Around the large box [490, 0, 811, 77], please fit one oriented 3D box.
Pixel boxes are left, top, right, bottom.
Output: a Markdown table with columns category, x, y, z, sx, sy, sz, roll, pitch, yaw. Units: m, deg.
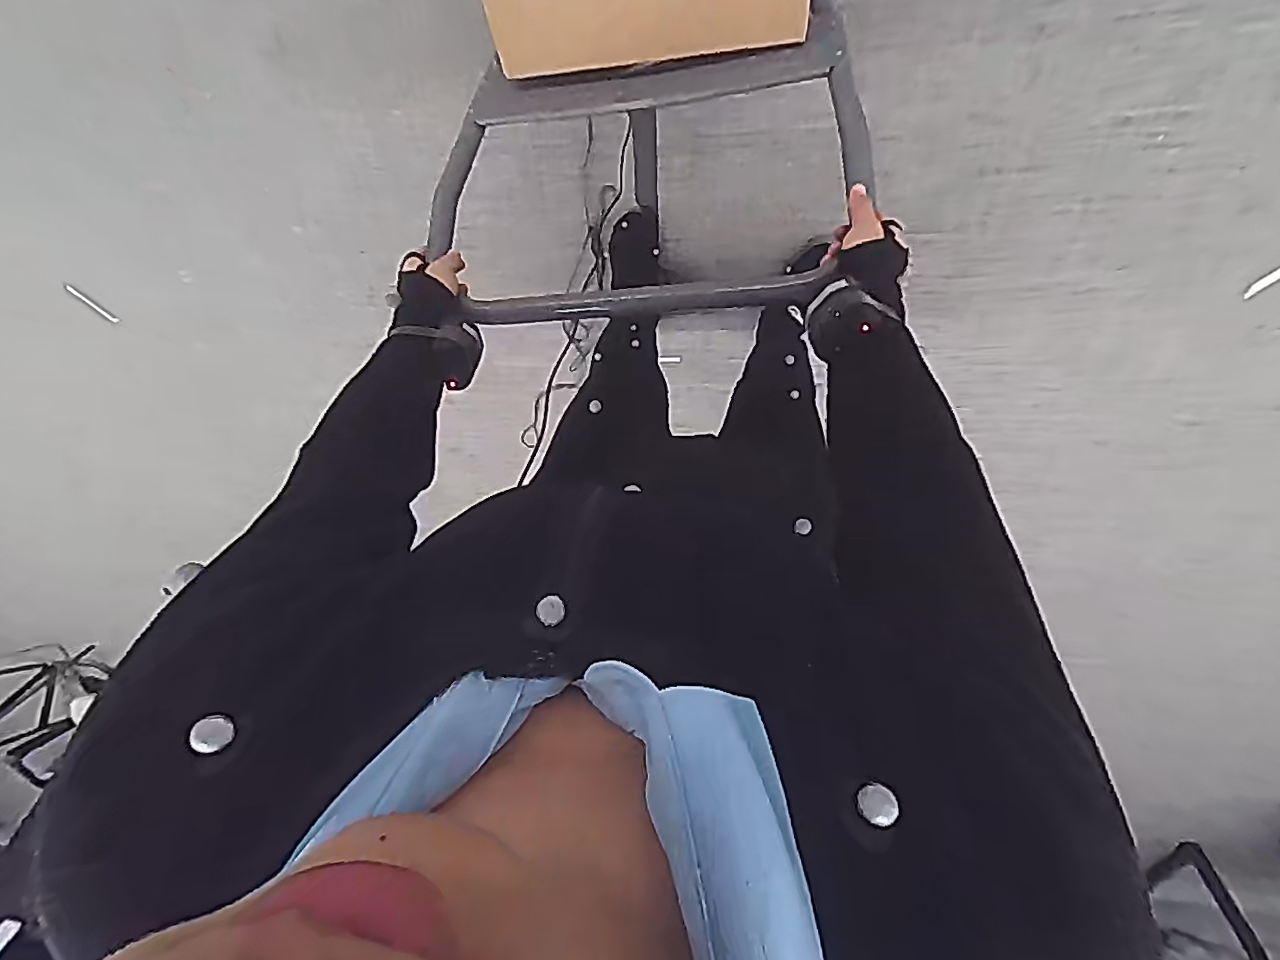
| category | x | y | z | sx | sy | sz | roll | pitch | yaw |
| --- | --- | --- | --- | --- | --- | --- | --- | --- | --- |
| large box | 0.002 | -0.774 | 0.675 | 0.408 | 0.320 | 0.320 | -2 | 147 | 9 |
